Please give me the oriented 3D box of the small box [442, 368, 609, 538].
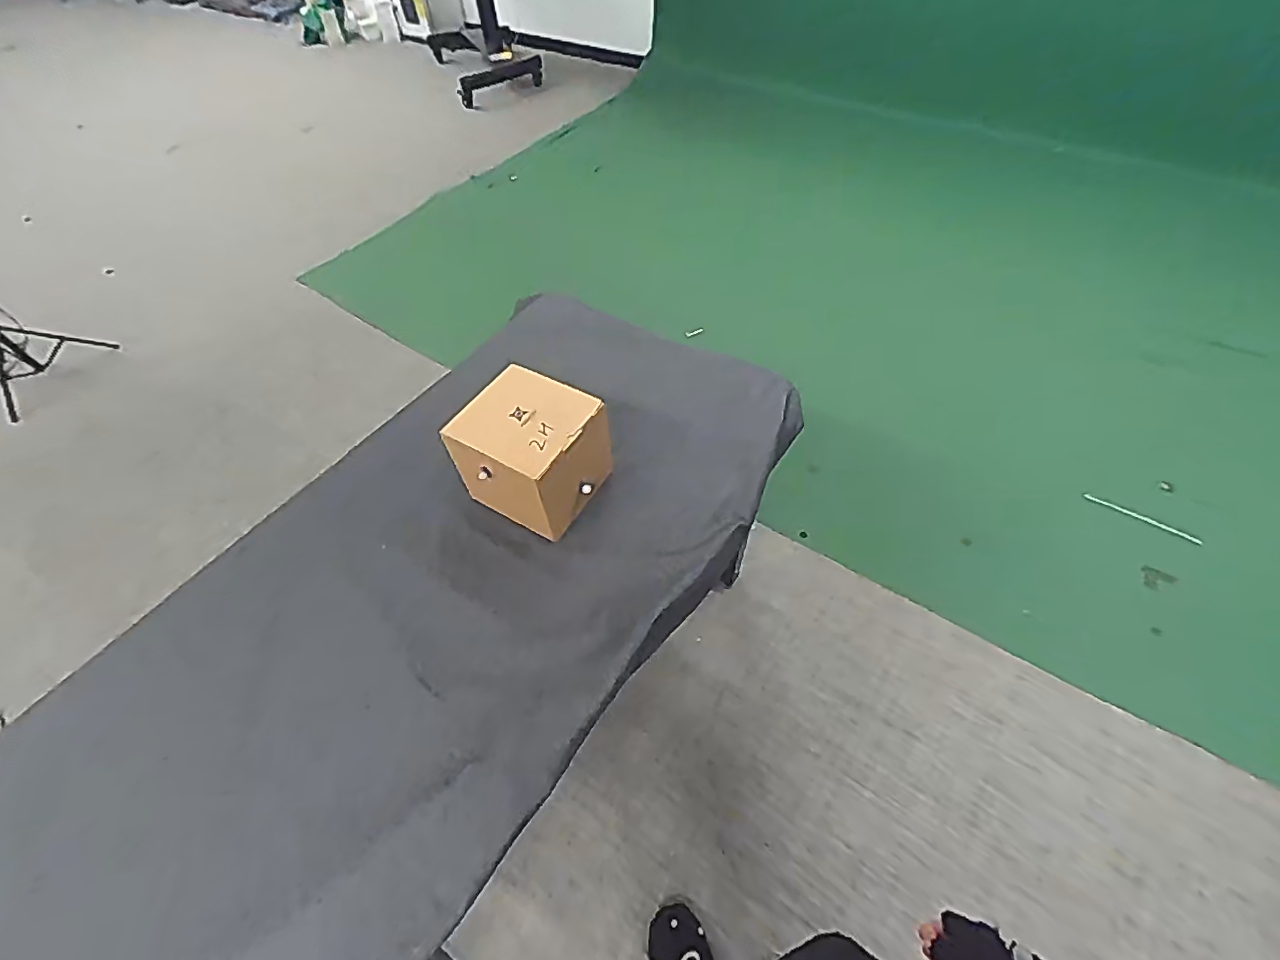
[{"bbox_3d":[-0.165,-0.038,0.838,0.179,0.176,0.168,26,59,19],"label":"small box"}]
